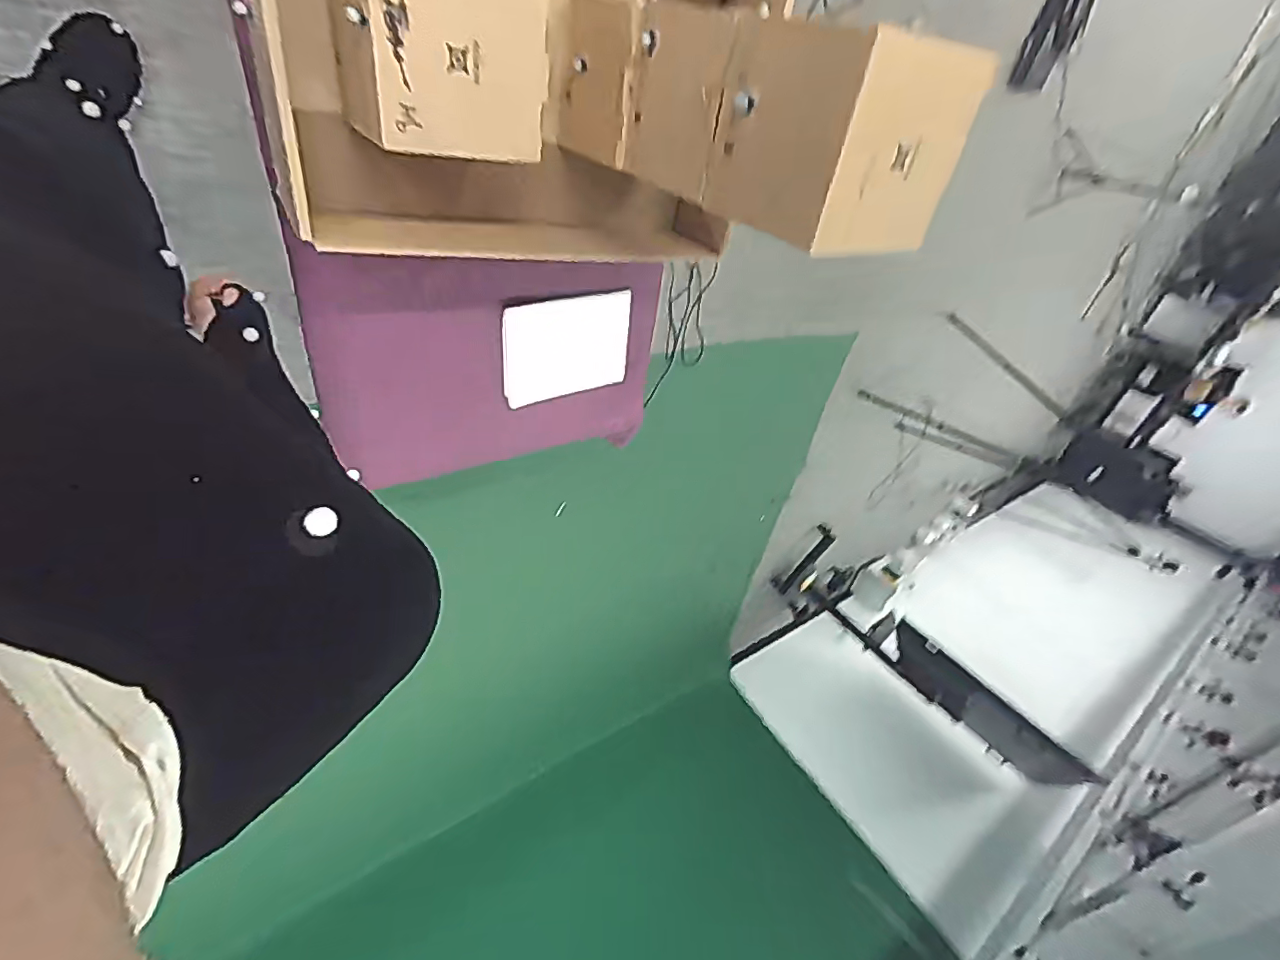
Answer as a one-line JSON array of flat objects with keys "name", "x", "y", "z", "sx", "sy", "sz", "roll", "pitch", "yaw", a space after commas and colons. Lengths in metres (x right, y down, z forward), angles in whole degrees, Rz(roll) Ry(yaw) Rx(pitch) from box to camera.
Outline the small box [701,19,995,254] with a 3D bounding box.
[{"name": "small box", "x": 0.191, "y": -0.335, "z": 0.536, "sx": 0.179, "sy": 0.176, "sz": 0.168, "roll": -15, "pitch": 134, "yaw": -30}]

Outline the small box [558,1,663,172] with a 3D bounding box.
[{"name": "small box", "x": 0.009, "y": -0.523, "z": 0.731, "sx": 0.179, "sy": 0.176, "sz": 0.168, "roll": -15, "pitch": 134, "yaw": -30}]

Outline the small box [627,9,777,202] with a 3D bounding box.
[{"name": "small box", "x": 0.104, "y": -0.430, "z": 0.635, "sx": 0.179, "sy": 0.176, "sz": 0.168, "roll": -16, "pitch": 135, "yaw": -31}]
